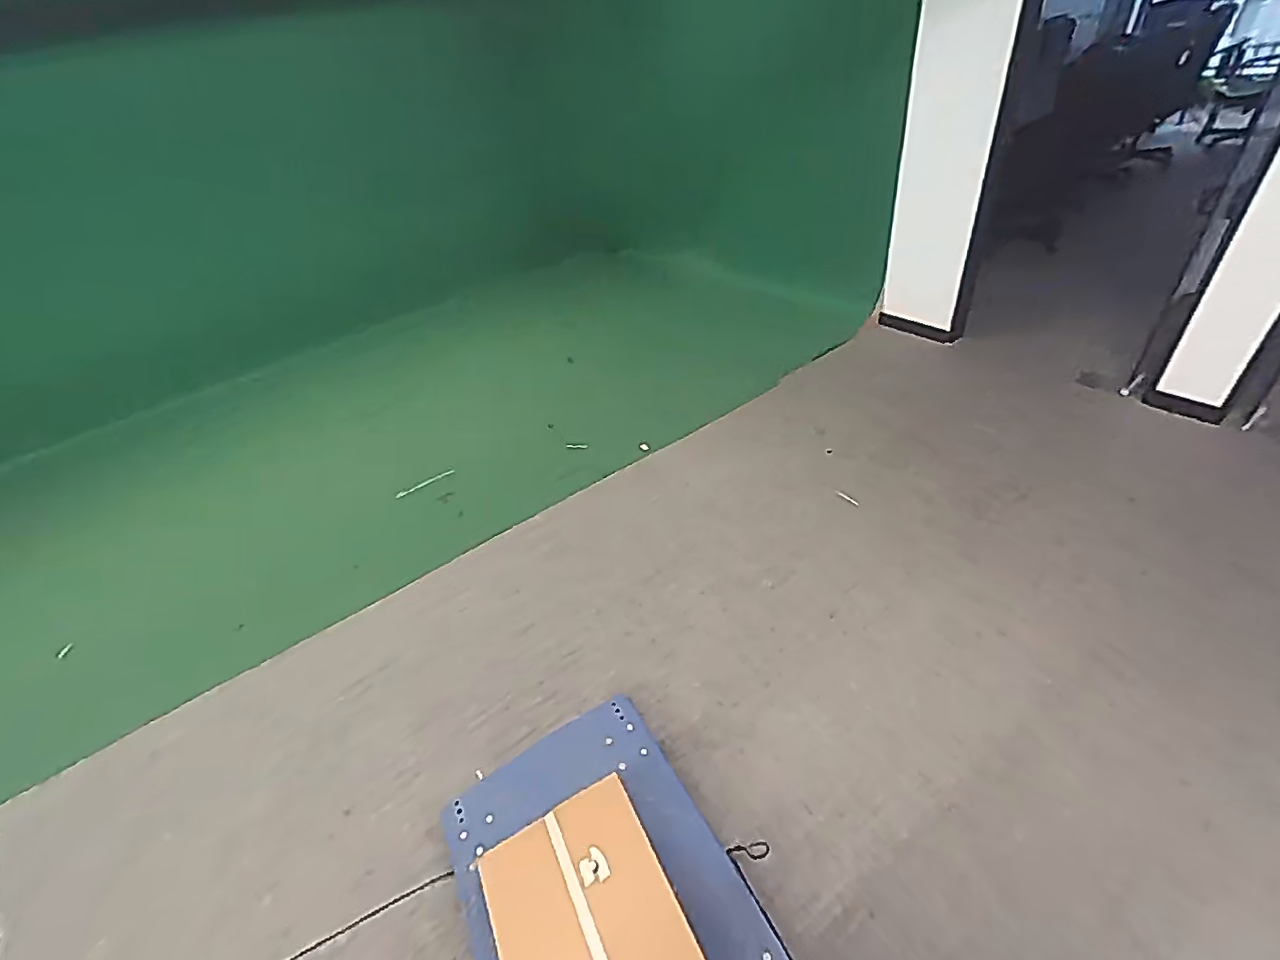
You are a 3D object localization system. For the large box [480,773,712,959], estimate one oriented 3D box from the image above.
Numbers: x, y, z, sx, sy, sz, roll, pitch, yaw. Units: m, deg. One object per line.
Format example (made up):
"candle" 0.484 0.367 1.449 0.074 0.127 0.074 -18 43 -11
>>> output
"large box" -0.064 0.887 1.044 0.320 0.320 0.408 -24 41 -16
